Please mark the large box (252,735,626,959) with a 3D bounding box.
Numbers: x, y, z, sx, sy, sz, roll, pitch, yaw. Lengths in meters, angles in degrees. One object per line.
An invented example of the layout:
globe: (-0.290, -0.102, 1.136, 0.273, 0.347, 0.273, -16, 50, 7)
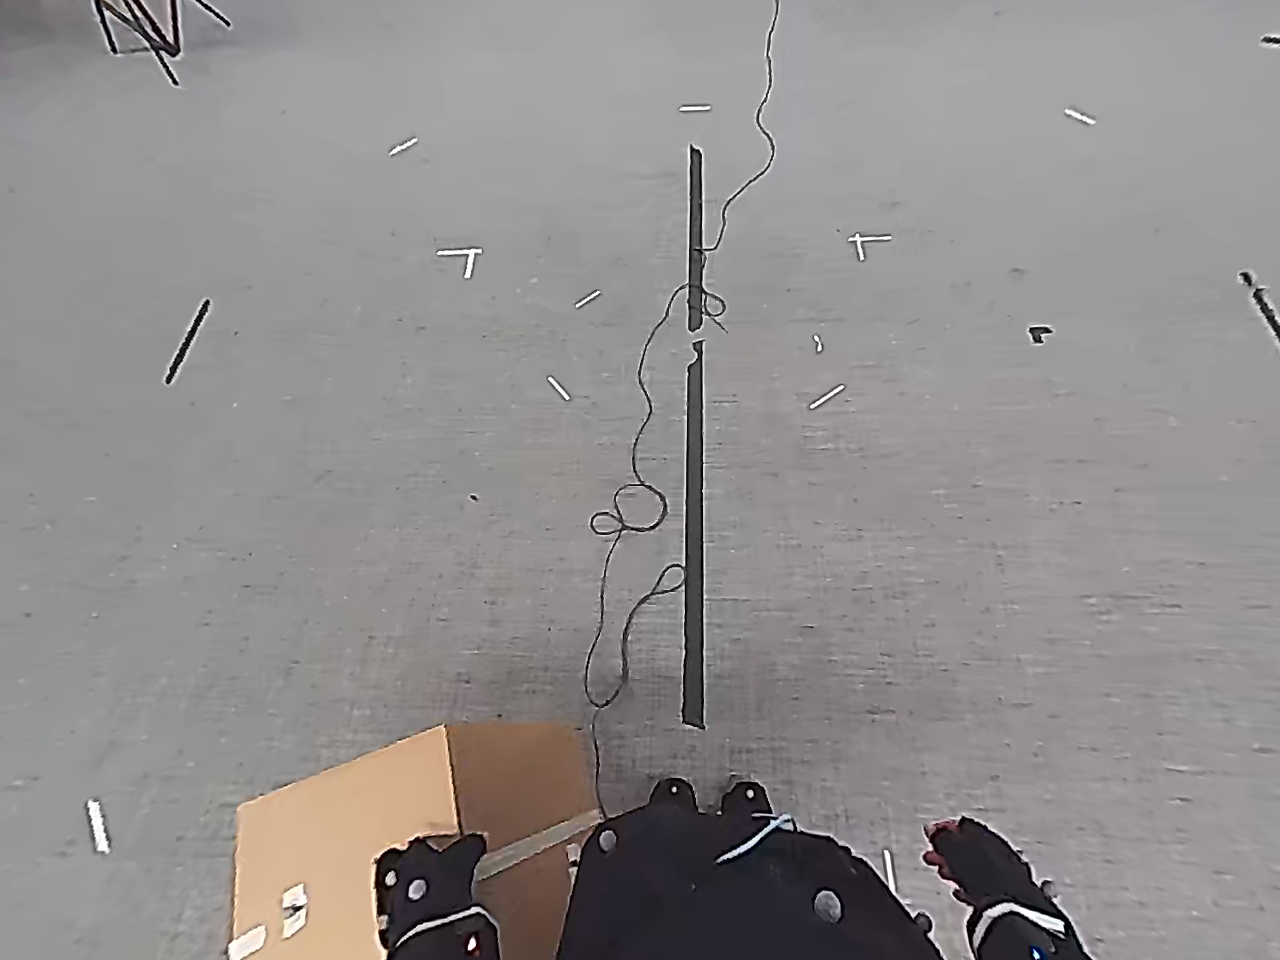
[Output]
large box: (-0.259, 0.583, 0.778, 0.320, 0.408, 0.320, -23, 62, 7)
